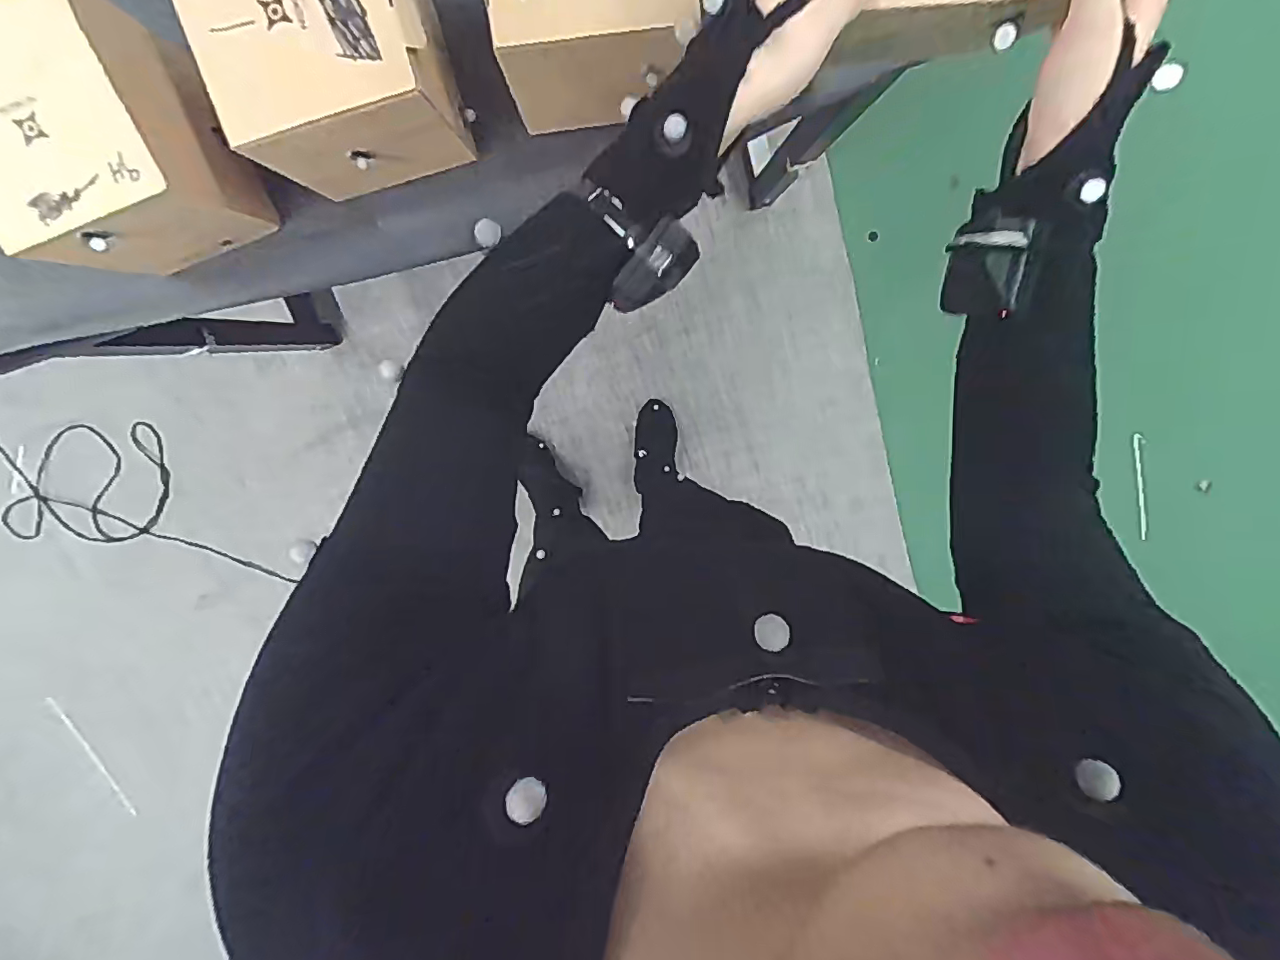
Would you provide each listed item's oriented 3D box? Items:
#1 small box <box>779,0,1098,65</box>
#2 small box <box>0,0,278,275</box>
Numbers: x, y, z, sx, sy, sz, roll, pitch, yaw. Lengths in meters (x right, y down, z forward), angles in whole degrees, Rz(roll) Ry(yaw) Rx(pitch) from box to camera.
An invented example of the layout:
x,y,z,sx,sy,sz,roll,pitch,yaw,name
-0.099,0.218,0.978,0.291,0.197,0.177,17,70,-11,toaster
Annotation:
x,y,z,sx,sy,sz,roll,pitch,yaw,name
0.200,-0.397,0.357,0.179,0.176,0.168,-1,117,4,small box
-0.514,-0.322,0.533,0.168,0.176,0.179,-18,103,5,small box
